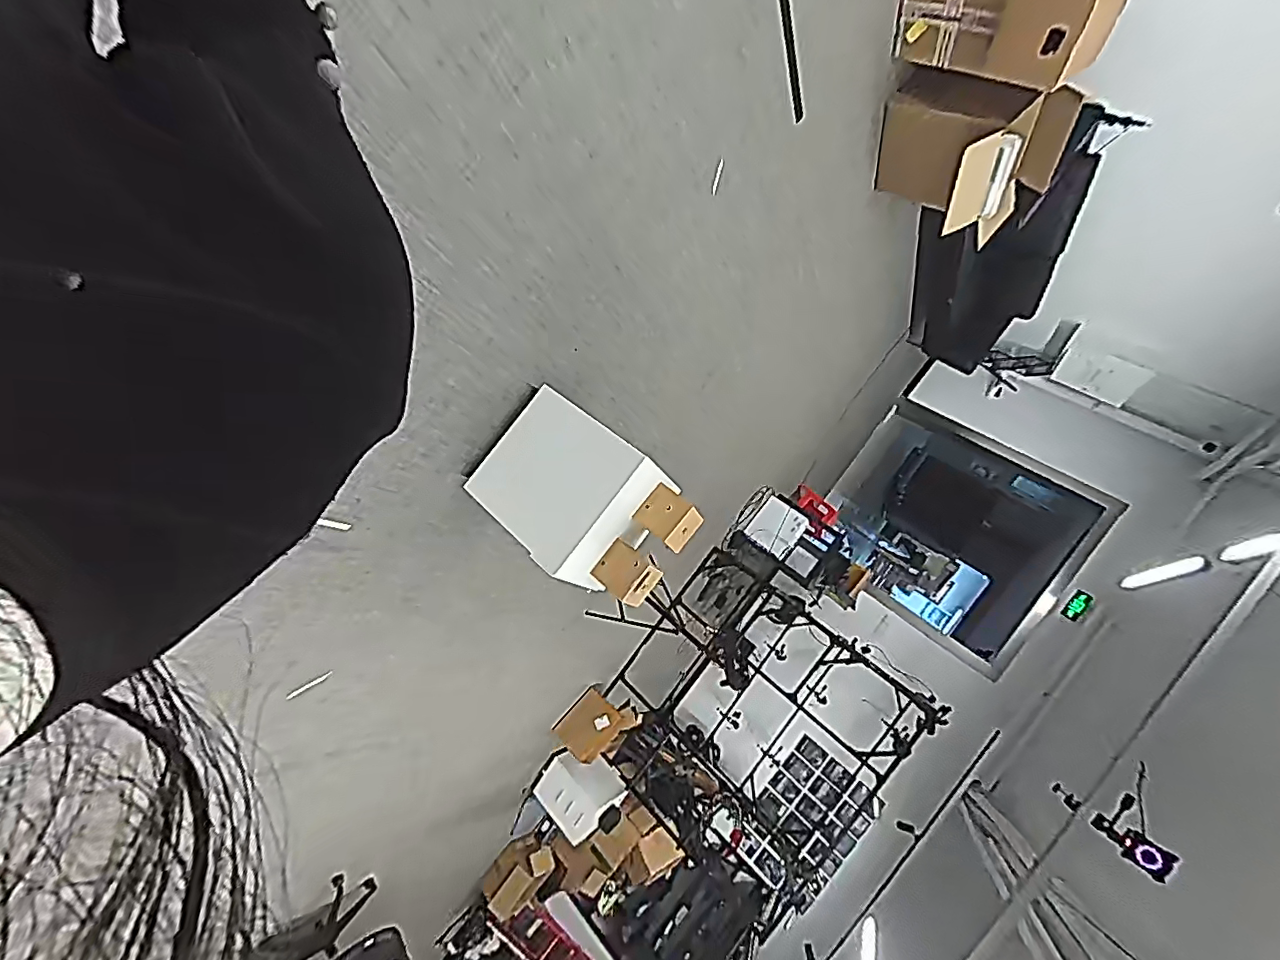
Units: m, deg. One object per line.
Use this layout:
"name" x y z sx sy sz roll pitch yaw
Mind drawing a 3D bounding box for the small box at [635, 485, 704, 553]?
"small box" 0.108 0.141 2.008 0.168 0.176 0.179 -51 152 -4
